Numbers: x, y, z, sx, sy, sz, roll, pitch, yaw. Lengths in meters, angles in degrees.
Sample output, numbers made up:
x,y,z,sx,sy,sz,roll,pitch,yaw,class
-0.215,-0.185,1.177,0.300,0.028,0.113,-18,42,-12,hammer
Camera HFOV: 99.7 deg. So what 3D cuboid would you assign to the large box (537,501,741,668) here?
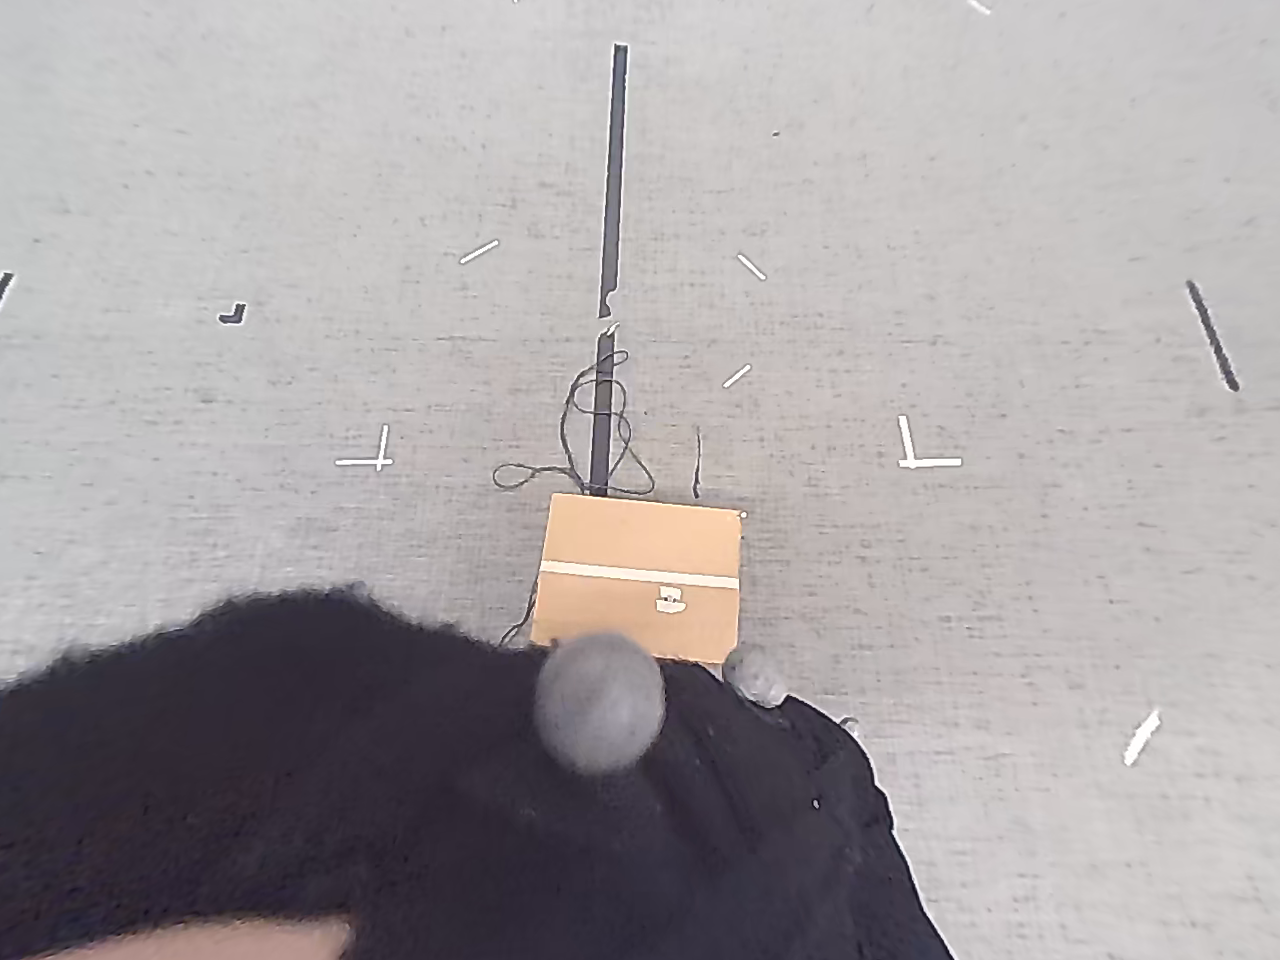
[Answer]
x,y,z,sx,sy,sz,roll,pitch,yaw,class
0.000,0.254,1.247,0.408,0.320,0.320,6,71,0,large box
